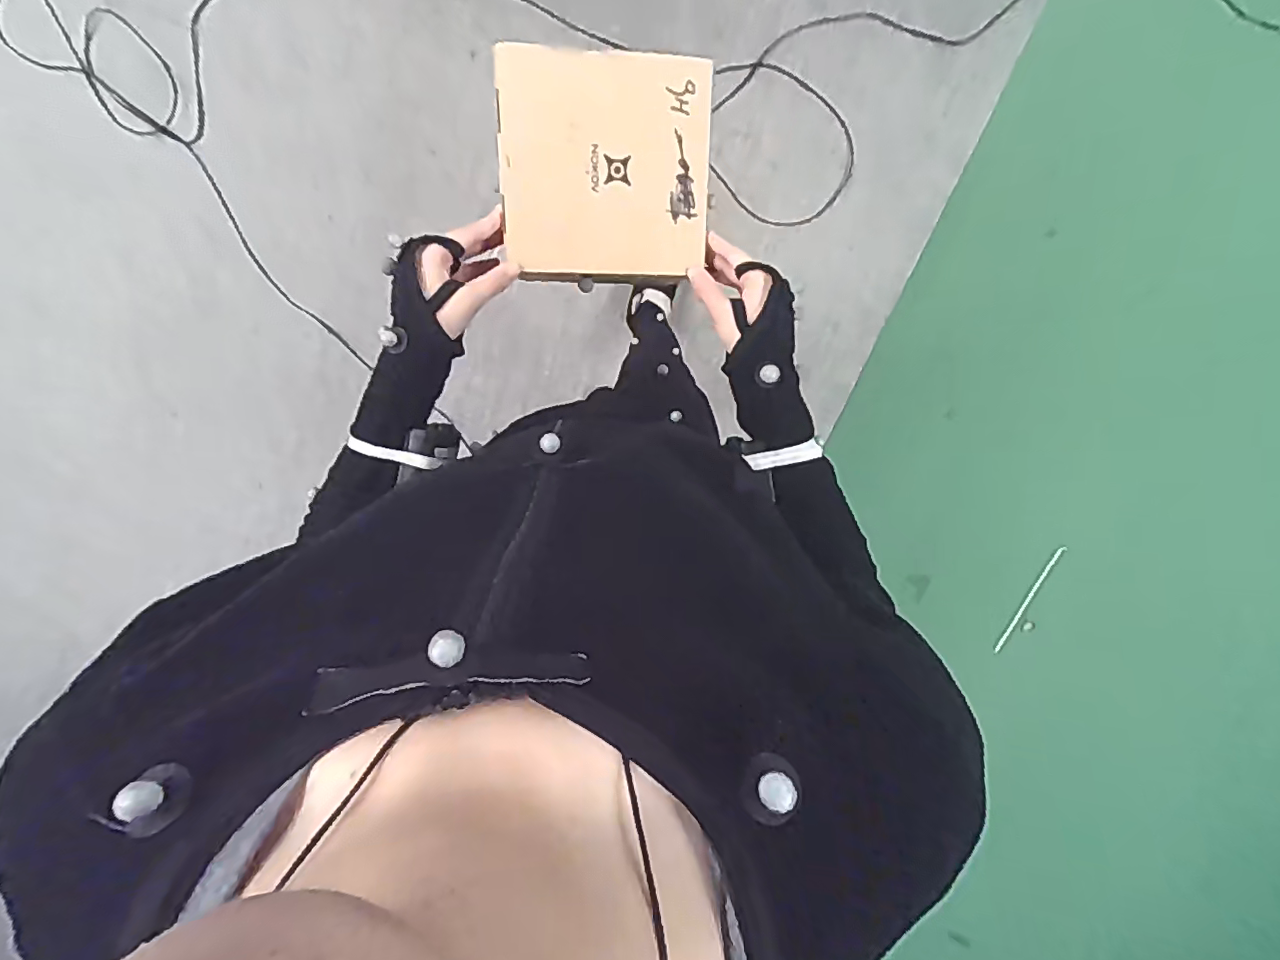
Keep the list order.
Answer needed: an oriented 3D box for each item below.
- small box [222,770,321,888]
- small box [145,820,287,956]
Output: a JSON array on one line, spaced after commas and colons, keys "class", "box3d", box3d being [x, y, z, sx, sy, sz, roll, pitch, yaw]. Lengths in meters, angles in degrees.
[{"class": "small box", "box3d": [-0.975, 0.904, 1.416, 0.168, 0.176, 0.179, 24, 102, -6]}, {"class": "small box", "box3d": [-0.975, 0.936, 1.255, 0.179, 0.176, 0.168, 24, 102, -7]}]
